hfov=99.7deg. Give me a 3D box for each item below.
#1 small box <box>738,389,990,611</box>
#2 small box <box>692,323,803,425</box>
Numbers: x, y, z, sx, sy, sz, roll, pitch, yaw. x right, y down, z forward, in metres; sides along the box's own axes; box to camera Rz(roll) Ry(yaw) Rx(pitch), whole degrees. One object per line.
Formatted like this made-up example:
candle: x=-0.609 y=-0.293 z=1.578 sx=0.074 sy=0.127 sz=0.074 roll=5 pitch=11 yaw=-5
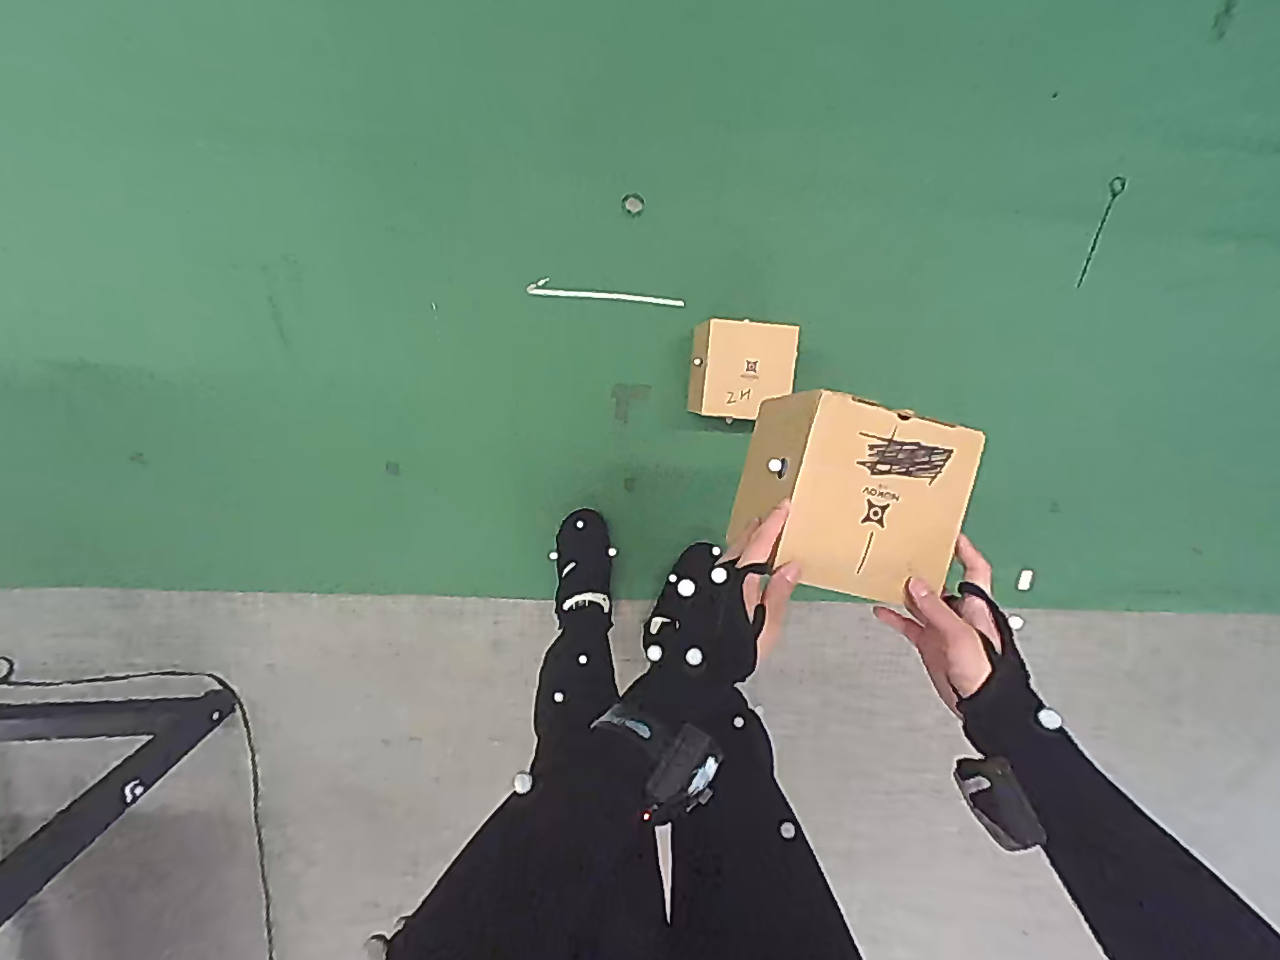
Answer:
small box: x=0.218 y=0.014 z=0.574 sx=0.168 sy=0.176 sz=0.179 roll=14 pitch=94 yaw=-6
small box: x=0.202 y=-0.203 z=1.066 sx=0.168 sy=0.176 sz=0.179 roll=4 pitch=99 yaw=-5
